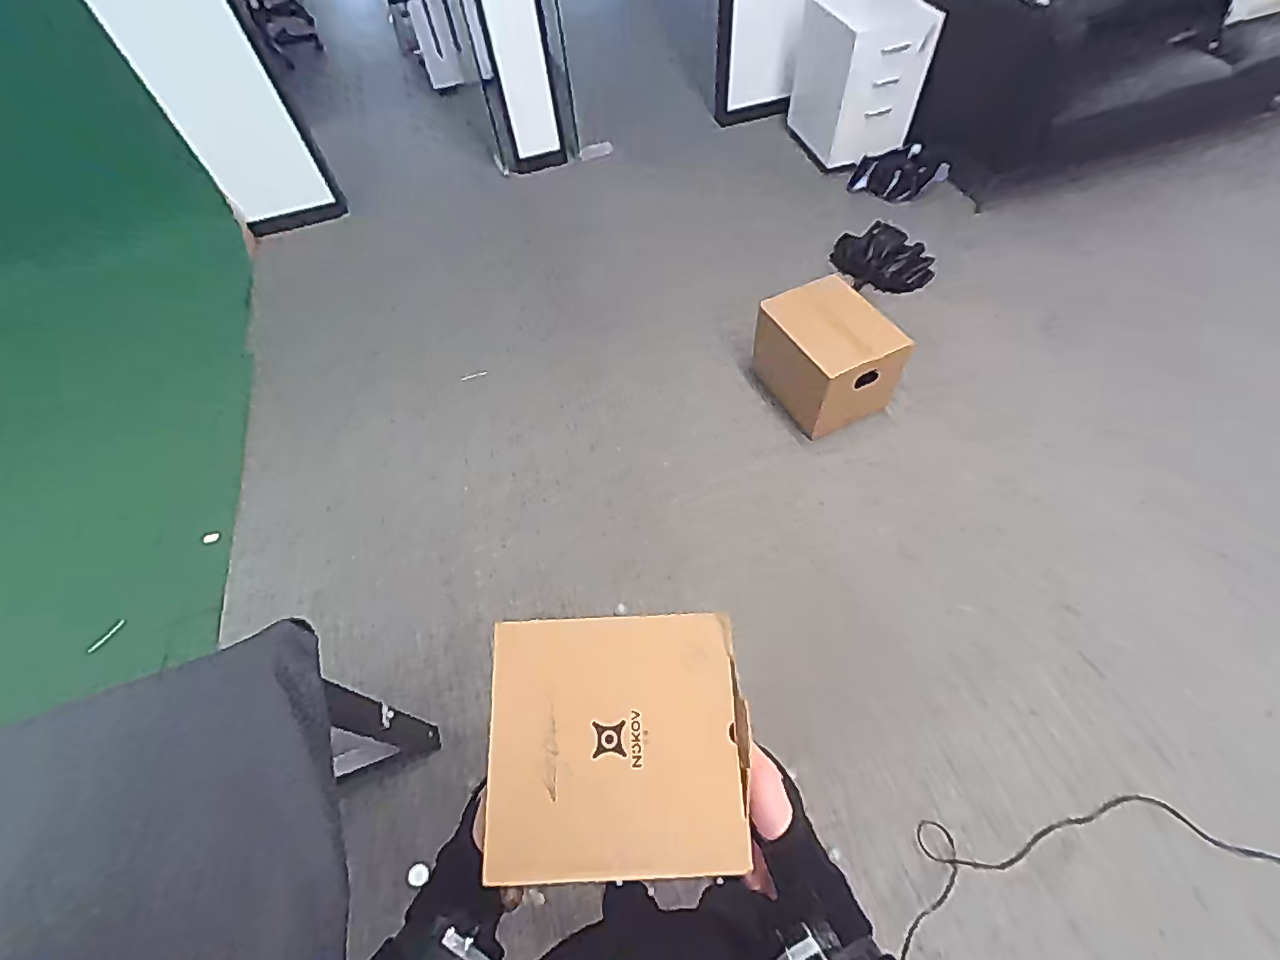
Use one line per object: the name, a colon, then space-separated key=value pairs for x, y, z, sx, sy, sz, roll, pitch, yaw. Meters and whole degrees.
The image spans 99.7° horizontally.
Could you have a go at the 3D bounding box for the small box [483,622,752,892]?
small box: x=-0.016 y=0.212 z=0.448 sx=0.179 sy=0.176 sz=0.168 roll=-3 pitch=69 yaw=0
